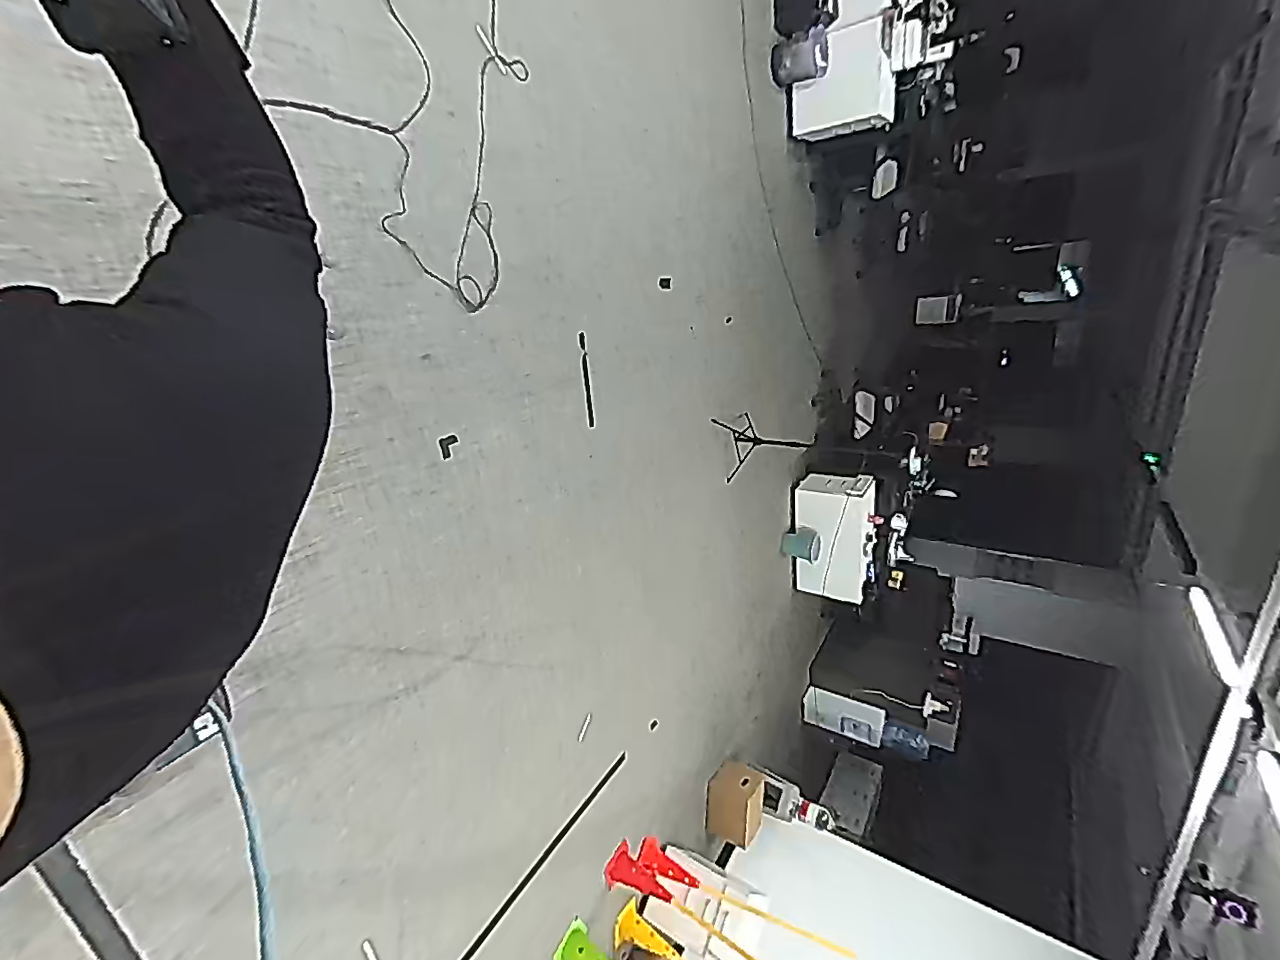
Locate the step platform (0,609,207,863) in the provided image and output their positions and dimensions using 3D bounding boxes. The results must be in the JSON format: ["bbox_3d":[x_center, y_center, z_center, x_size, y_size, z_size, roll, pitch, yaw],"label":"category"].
[{"bbox_3d":[-1.182,0.523,0.925,0.684,0.204,0.286,-34,124,-47],"label":"step platform"}]
